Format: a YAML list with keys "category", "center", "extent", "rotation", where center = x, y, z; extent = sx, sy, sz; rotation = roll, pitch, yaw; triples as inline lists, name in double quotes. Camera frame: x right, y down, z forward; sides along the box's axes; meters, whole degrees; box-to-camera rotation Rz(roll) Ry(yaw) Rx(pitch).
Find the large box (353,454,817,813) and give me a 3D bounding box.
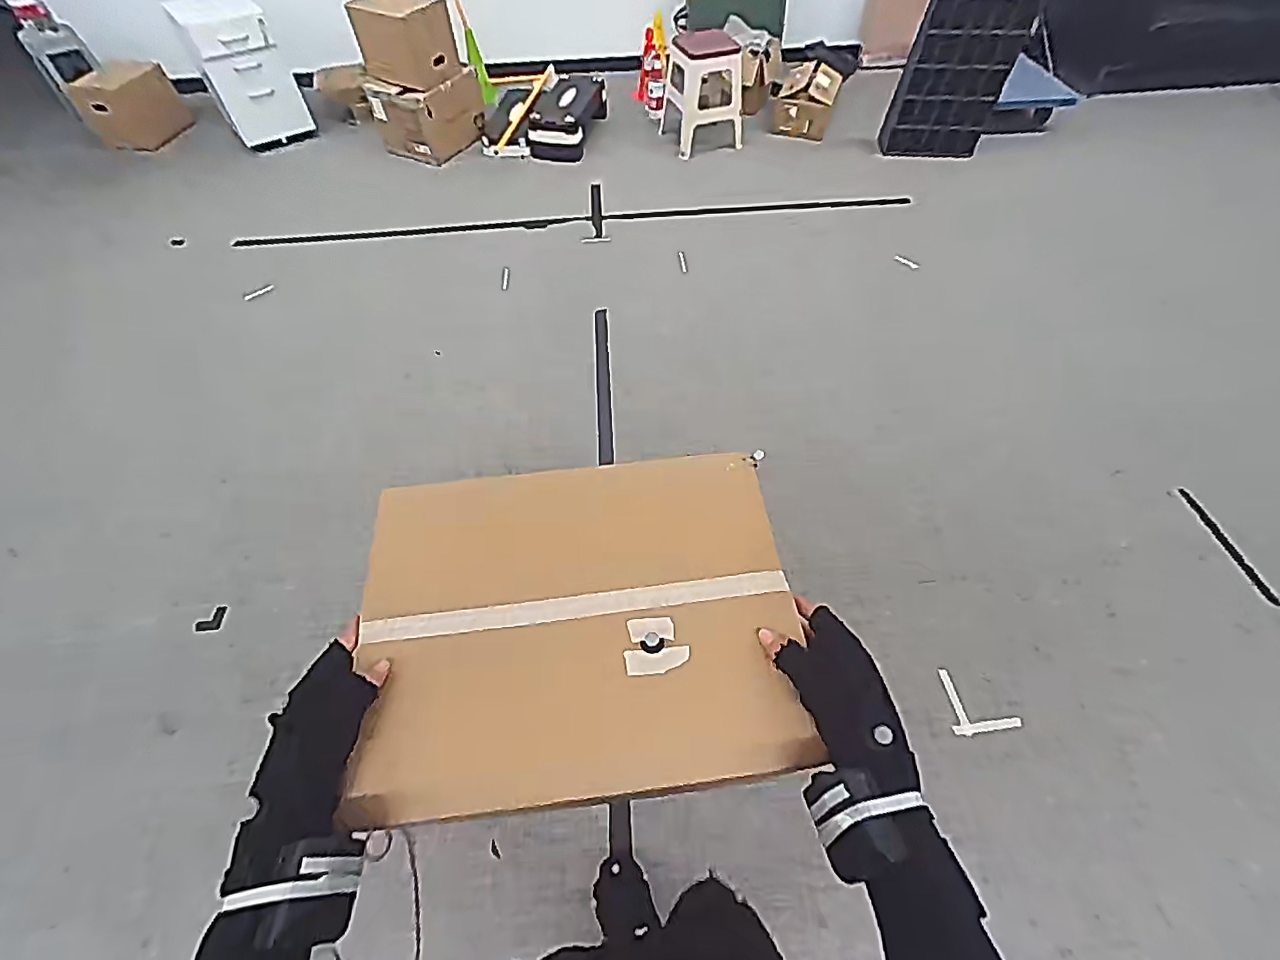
- category: "large box"
  center: [-0.059, 0.198, 0.657]
  extent: [0.408, 0.320, 0.320]
  rotation: [-6, 59, -3]
